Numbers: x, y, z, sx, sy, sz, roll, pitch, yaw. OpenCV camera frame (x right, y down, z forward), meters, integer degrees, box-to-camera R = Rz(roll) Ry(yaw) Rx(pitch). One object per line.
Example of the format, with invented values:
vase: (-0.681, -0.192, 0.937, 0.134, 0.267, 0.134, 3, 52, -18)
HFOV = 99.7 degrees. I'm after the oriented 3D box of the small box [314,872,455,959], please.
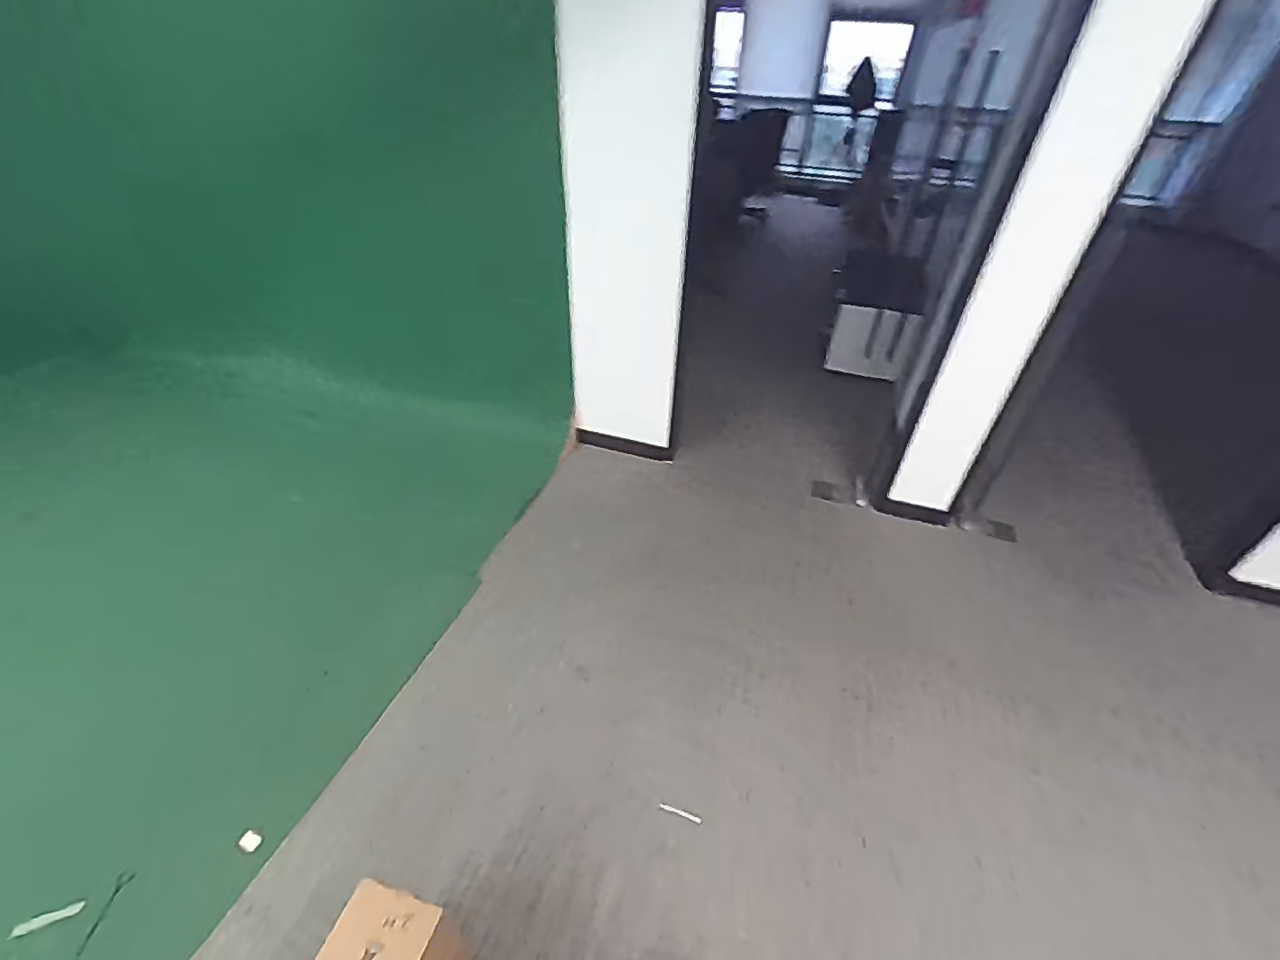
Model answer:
small box: (-0.453, 0.851, 0.963, 0.168, 0.176, 0.179, 14, 40, 12)
